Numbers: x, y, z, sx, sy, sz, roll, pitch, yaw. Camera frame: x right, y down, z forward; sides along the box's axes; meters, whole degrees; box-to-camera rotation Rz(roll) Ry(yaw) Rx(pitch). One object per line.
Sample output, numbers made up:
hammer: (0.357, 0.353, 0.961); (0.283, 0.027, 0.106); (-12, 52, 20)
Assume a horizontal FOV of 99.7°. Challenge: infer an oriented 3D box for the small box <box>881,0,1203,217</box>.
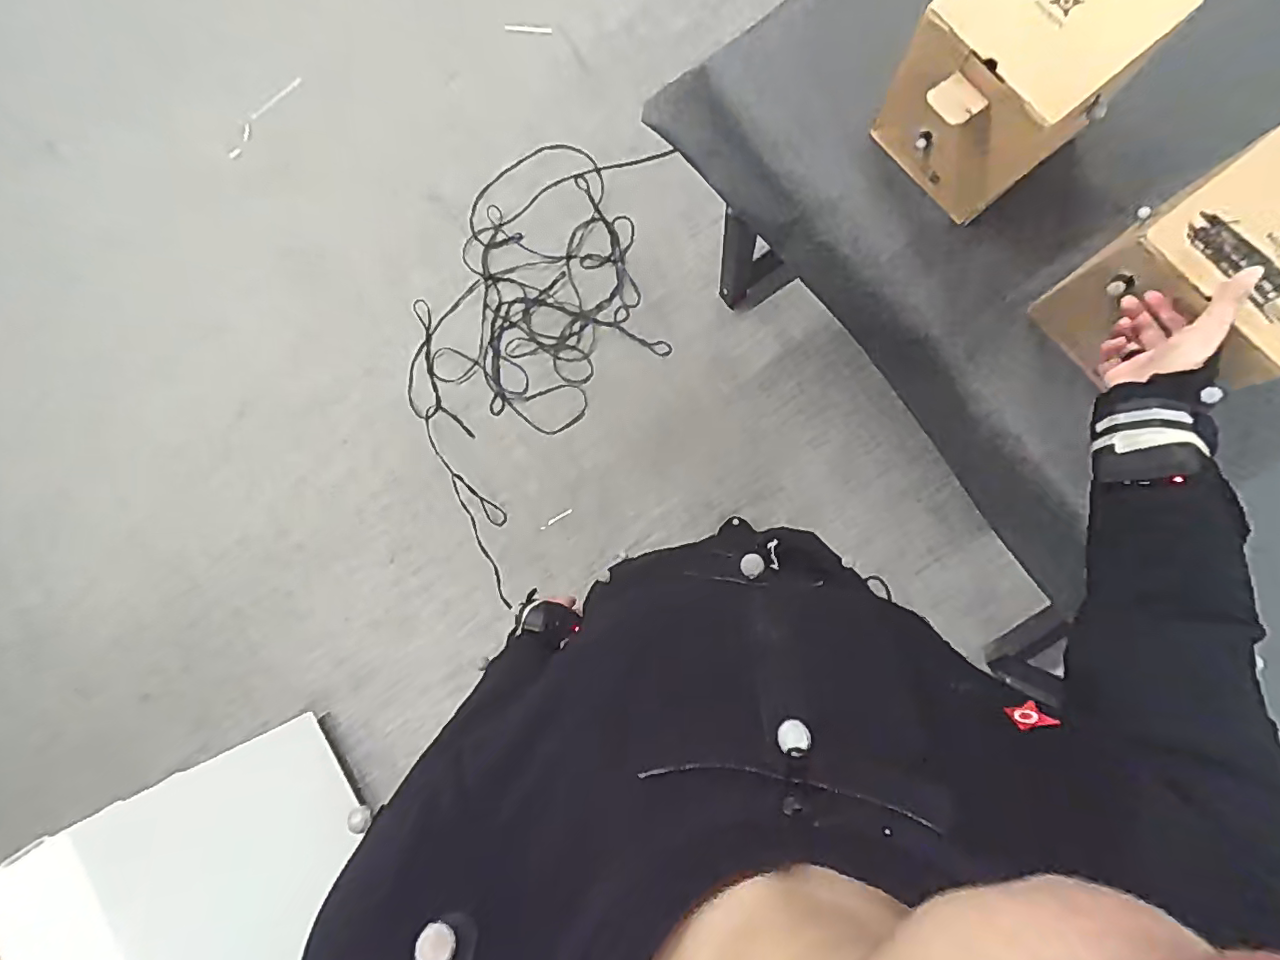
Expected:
small box: (0.396, -0.430, 0.573); (0.179, 0.176, 0.168); (-39, 83, 2)
